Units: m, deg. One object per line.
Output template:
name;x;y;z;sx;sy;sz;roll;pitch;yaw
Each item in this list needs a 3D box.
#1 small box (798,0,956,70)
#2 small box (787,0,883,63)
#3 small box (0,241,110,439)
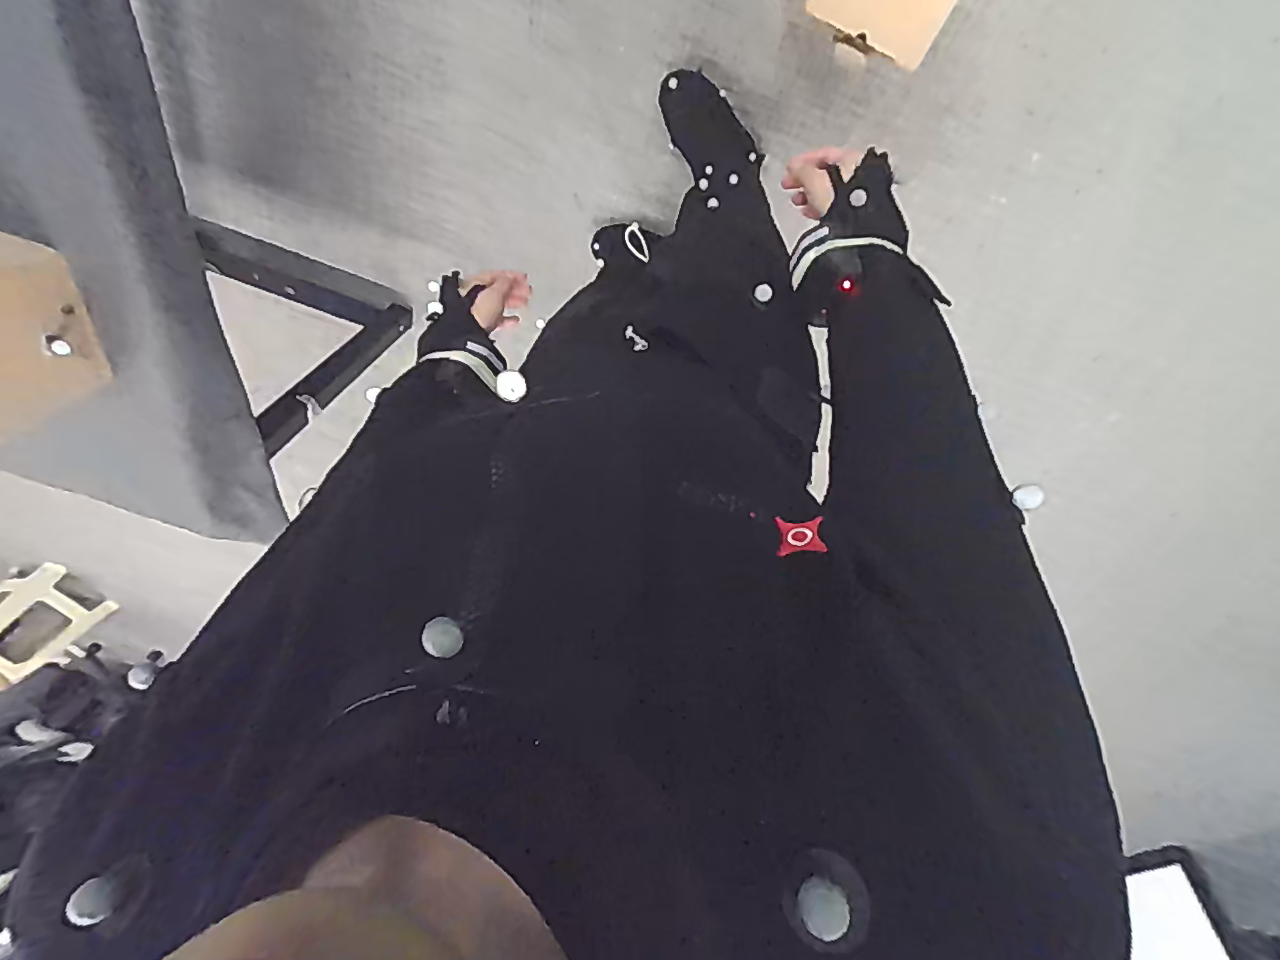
small box;0.313;-0.657;0.677;0.168;0.176;0.179;21;131;-8
small box;0.333;-0.762;0.802;0.168;0.176;0.179;20;132;-7
small box;-0.723;-0.150;0.553;0.179;0.176;0.168;18;131;-5
